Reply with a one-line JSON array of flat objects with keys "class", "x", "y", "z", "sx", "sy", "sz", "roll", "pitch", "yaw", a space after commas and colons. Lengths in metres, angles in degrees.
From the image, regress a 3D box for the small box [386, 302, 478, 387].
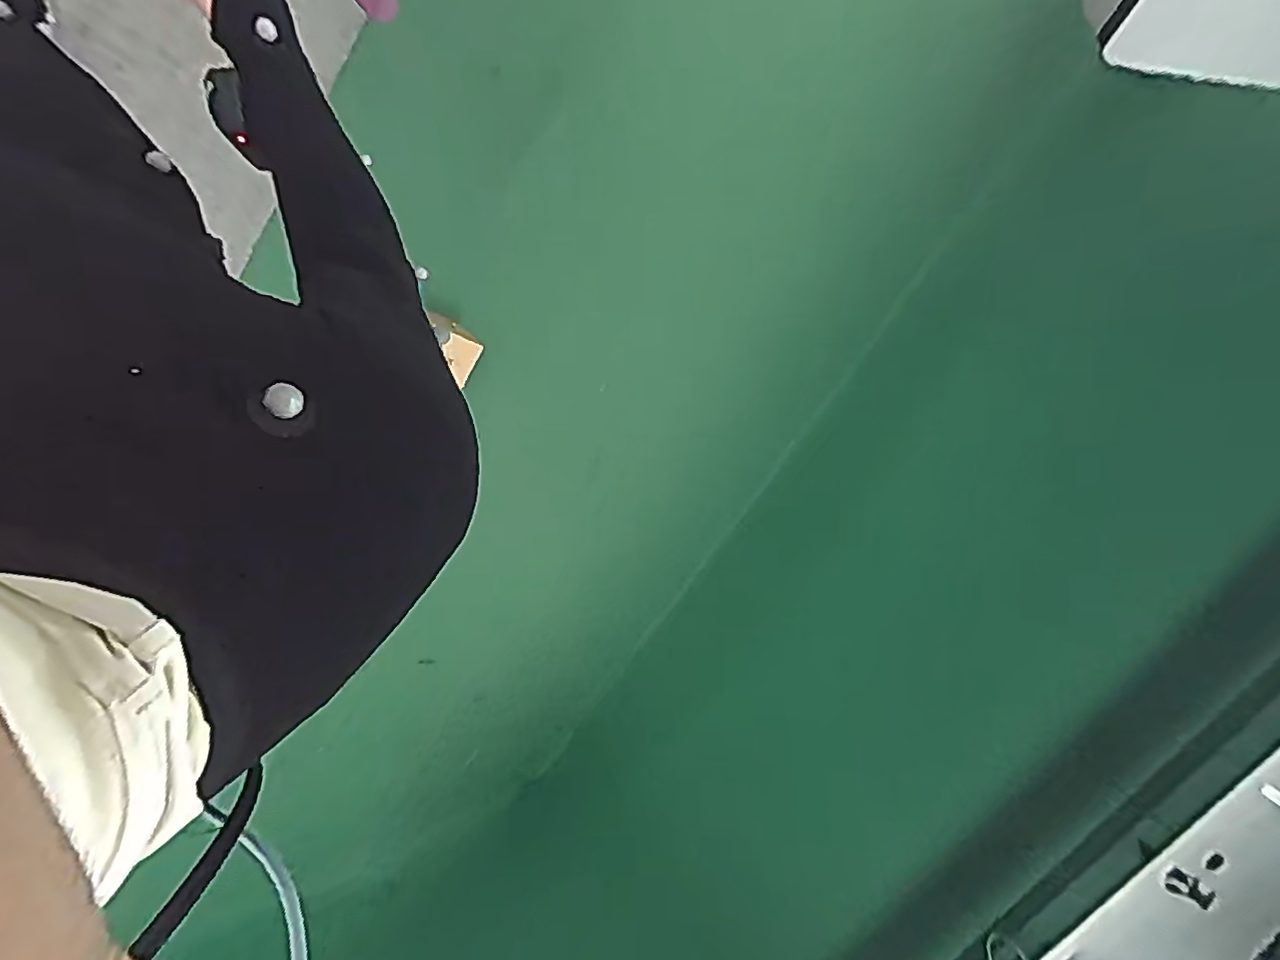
[{"class": "small box", "x": -0.629, "y": -0.410, "z": 1.622, "sx": 0.179, "sy": 0.176, "sz": 0.168, "roll": 15, "pitch": 113, "yaw": -54}]
